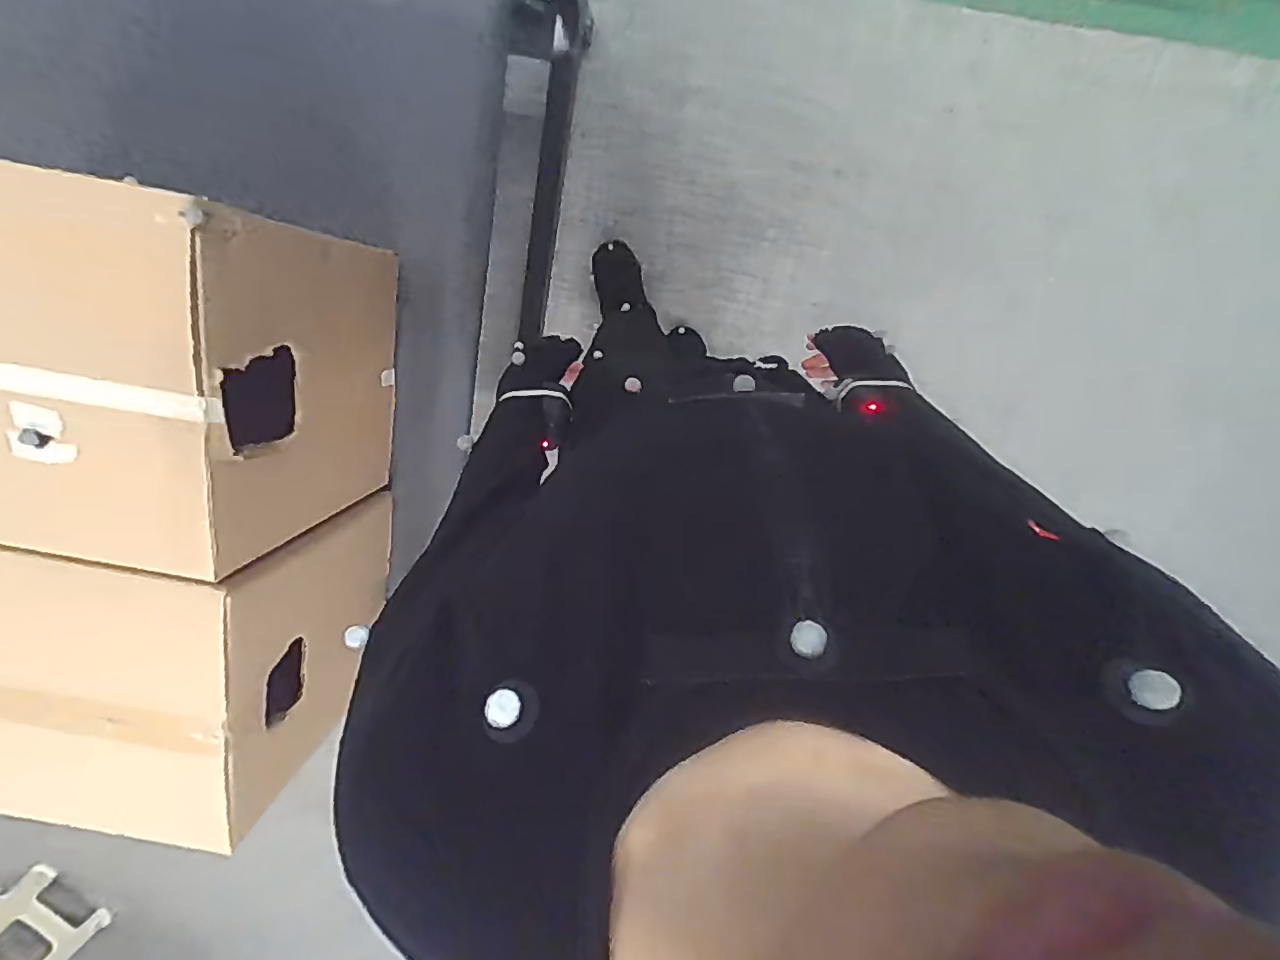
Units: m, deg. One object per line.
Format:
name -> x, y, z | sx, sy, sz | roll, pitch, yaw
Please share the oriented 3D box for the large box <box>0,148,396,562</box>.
large box -> -0.529, -0.141, 0.572 | 0.408, 0.320, 0.320 | 10, 107, -1
